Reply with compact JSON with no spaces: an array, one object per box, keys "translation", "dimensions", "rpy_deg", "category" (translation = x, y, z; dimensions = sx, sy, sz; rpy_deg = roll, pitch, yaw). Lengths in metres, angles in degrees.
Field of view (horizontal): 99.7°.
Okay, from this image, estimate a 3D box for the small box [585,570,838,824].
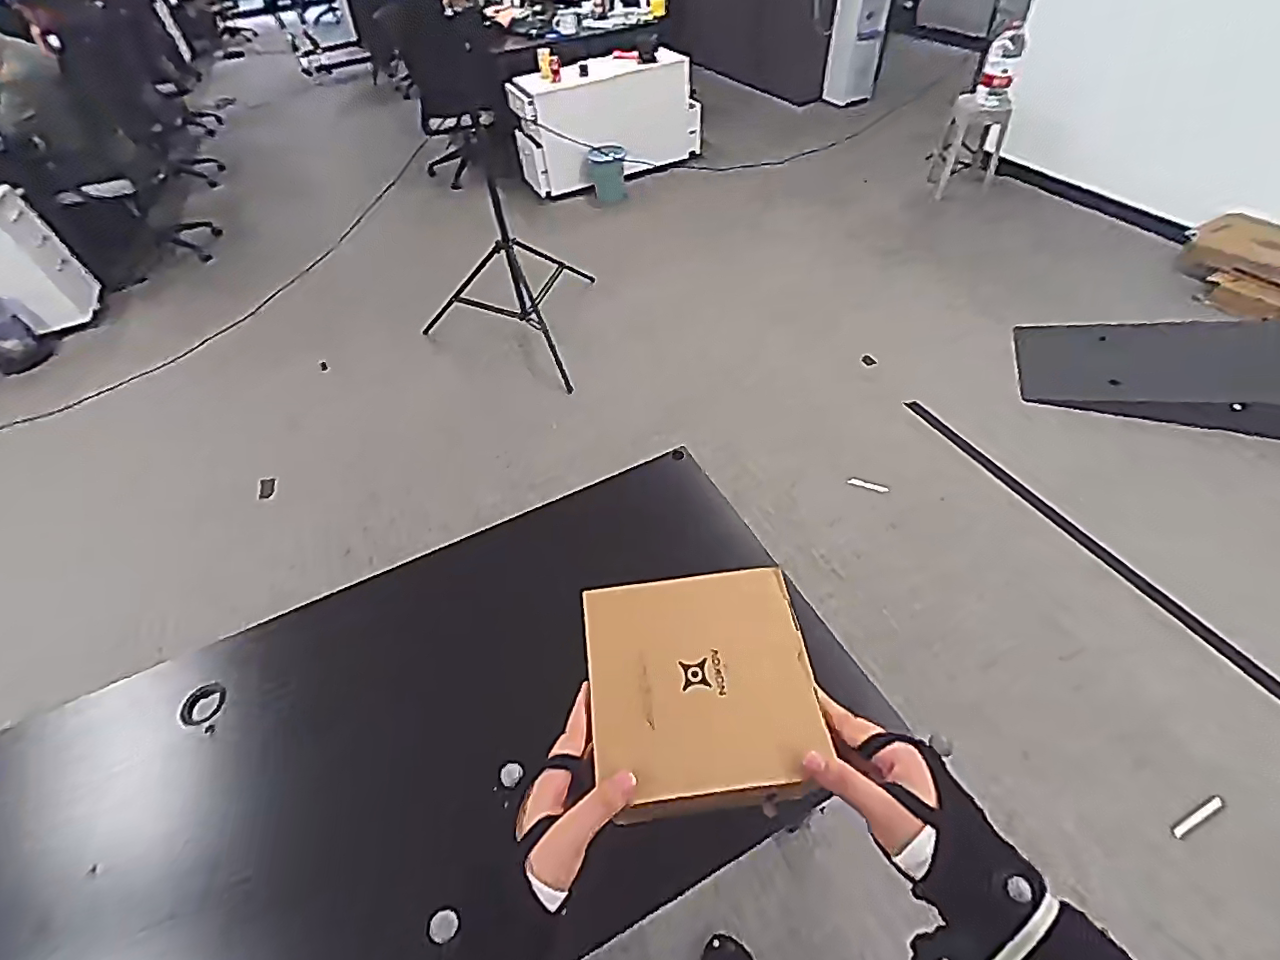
[{"translation":[0.051,0.202,0.491],"dimensions":[0.179,0.176,0.168],"rpy_deg":[-8,53,-1],"category":"small box"}]
